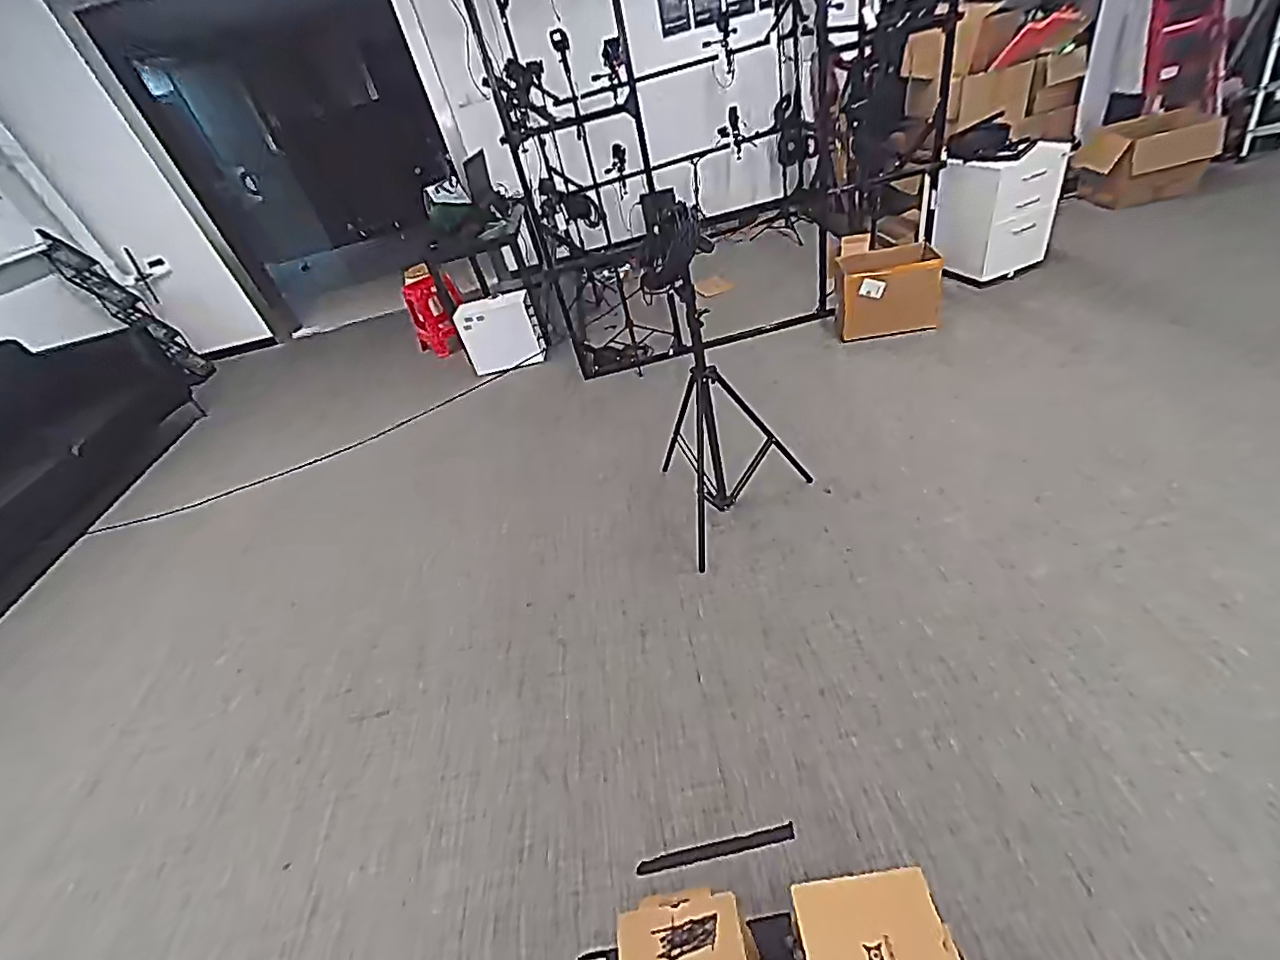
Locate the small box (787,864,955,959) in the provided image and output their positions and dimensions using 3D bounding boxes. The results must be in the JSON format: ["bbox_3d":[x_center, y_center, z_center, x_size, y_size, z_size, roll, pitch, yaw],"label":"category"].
[{"bbox_3d":[0.304,0.636,0.705,0.179,0.176,0.168,-12,38,4],"label":"small box"}]

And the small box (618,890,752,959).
[{"bbox_3d":[0.072,0.688,0.719,0.168,0.176,0.179,-13,38,3],"label":"small box"}]

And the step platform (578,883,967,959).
[{"bbox_3d":[0.226,0.917,0.932,0.684,0.204,0.286,-15,37,2],"label":"step platform"}]

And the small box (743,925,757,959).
[{"bbox_3d":[0.110,0.815,0.816,0.168,0.176,0.179,-13,38,4],"label":"small box"}]
